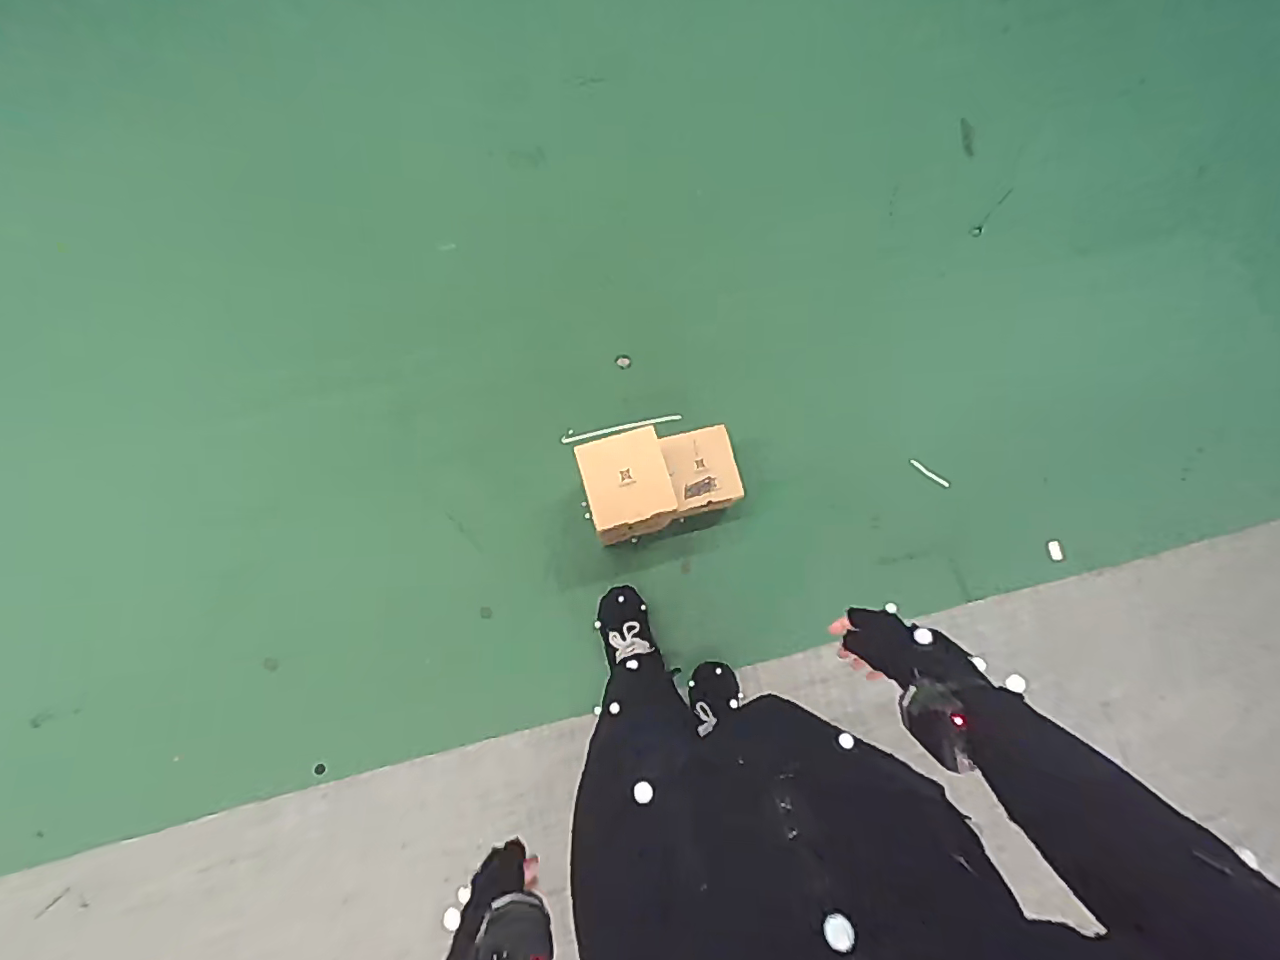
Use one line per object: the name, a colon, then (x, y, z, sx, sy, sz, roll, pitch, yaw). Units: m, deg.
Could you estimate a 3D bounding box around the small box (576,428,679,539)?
small box: (-0.032, 0.014, 1.123, 0.168, 0.176, 0.179, -17, 81, -7)
